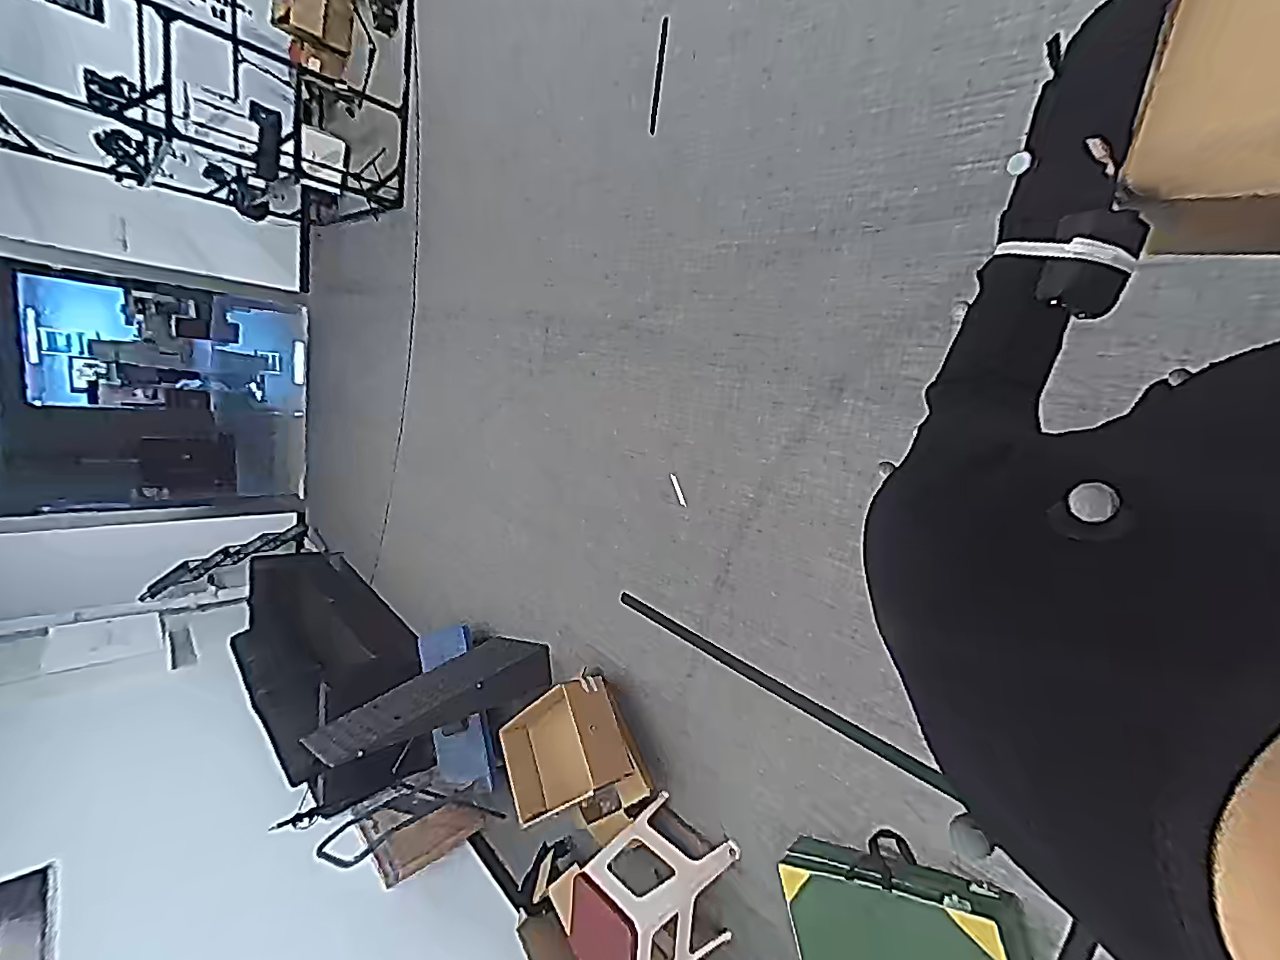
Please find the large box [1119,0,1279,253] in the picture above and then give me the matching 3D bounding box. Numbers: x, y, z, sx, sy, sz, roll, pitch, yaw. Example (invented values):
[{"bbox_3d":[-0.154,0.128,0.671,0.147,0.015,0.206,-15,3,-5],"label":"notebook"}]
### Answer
[{"bbox_3d":[0.608,-0.329,0.331,0.408,0.320,0.320,21,115,41],"label":"large box"}]
